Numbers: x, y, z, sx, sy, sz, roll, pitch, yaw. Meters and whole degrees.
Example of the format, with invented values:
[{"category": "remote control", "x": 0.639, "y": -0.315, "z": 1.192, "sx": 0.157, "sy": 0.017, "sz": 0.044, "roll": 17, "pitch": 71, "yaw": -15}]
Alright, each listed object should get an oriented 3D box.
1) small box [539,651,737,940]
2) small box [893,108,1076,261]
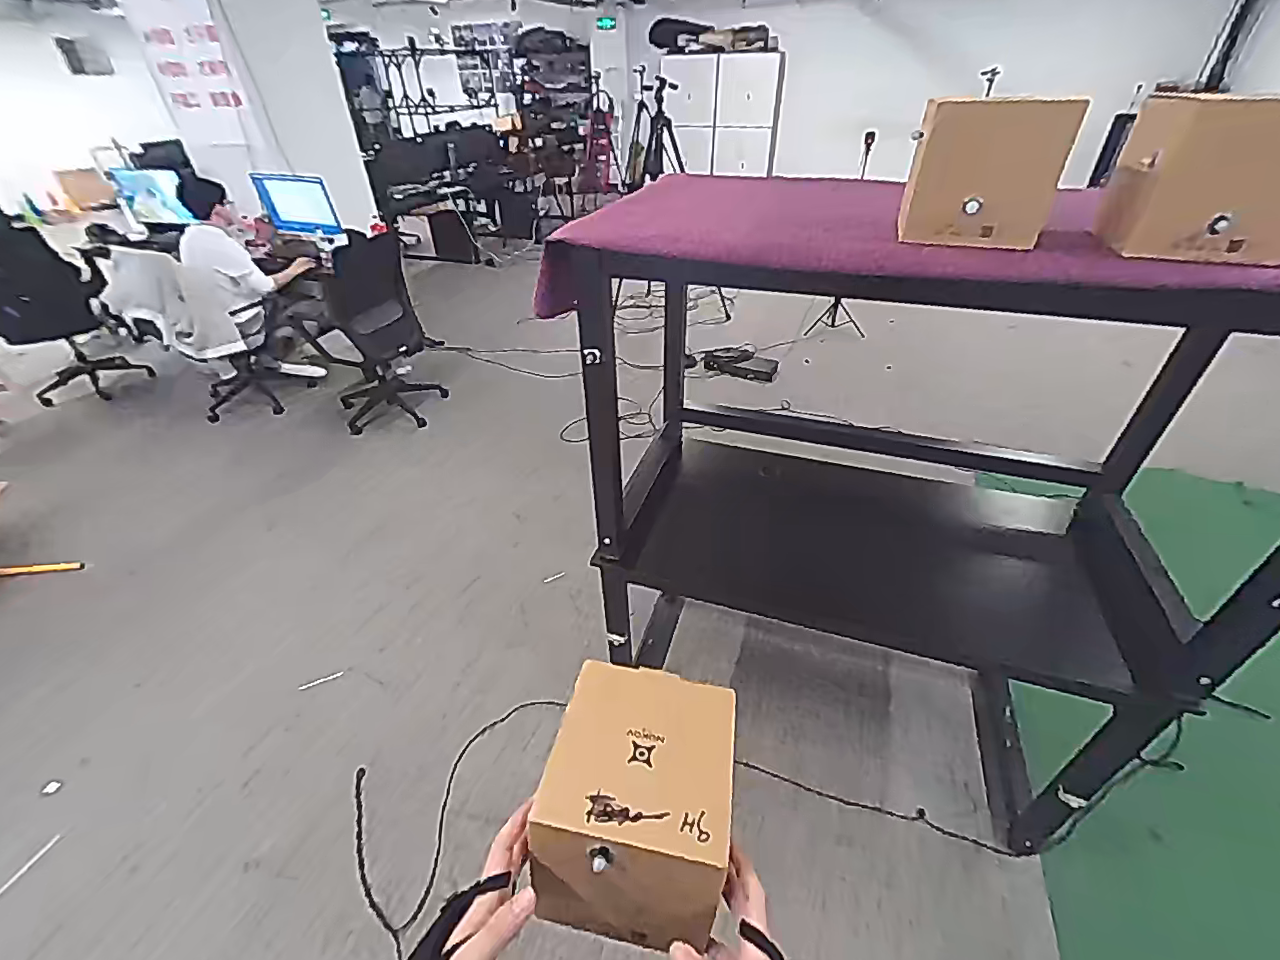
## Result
[{"category": "small box", "x": 0.003, "y": 0.311, "z": 0.552, "sx": 0.168, "sy": 0.176, "sz": 0.179, "roll": 8, "pitch": 29, "yaw": 8}, {"category": "small box", "x": 0.468, "y": -0.425, "z": 0.770, "sx": 0.168, "sy": 0.176, "sz": 0.179, "roll": 11, "pitch": 38, "yaw": 16}]
